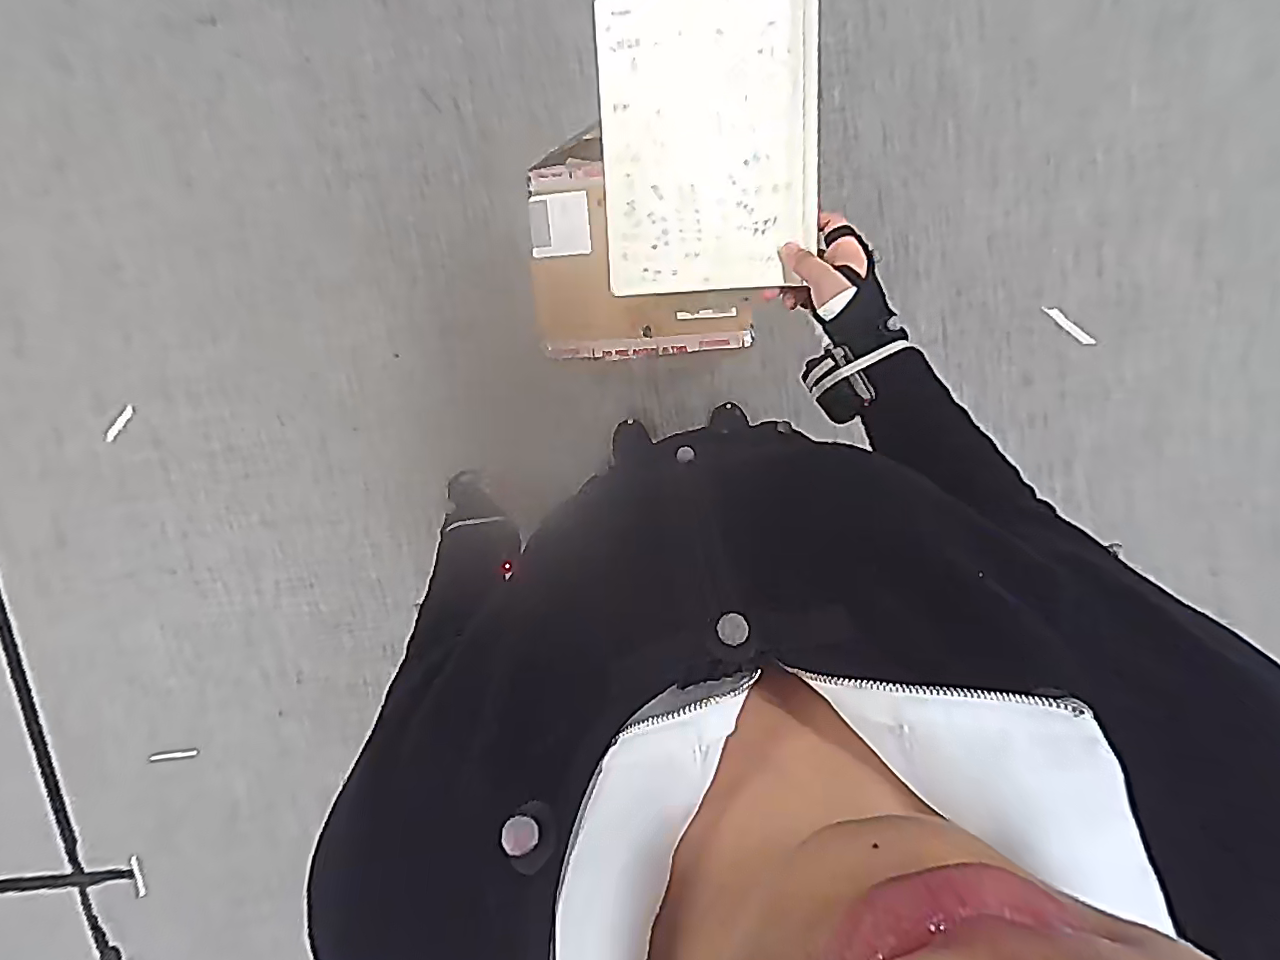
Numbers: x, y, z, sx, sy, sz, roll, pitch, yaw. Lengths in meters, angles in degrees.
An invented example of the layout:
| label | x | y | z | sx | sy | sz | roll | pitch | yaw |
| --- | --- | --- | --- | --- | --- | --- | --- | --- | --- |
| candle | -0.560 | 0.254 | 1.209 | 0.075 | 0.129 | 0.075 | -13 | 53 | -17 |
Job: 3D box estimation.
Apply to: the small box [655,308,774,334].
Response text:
| label | x | y | z | sx | sy | sz | roll | pitch | yaw |
| --- | --- | --- | --- | --- | --- | --- | --- | --- | --- |
| small box | 0.111 | -0.341 | 0.893 | 0.179 | 0.176 | 0.168 | -5 | 98 | 1 |

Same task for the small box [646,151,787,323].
| label | x | y | z | sx | sy | sz | roll | pitch | yaw |
| --- | --- | --- | --- | --- | --- | --- | --- | --- | --- |
| small box | 0.093 | -0.314 | 0.731 | 0.168 | 0.176 | 0.179 | -1 | 99 | -1 |
